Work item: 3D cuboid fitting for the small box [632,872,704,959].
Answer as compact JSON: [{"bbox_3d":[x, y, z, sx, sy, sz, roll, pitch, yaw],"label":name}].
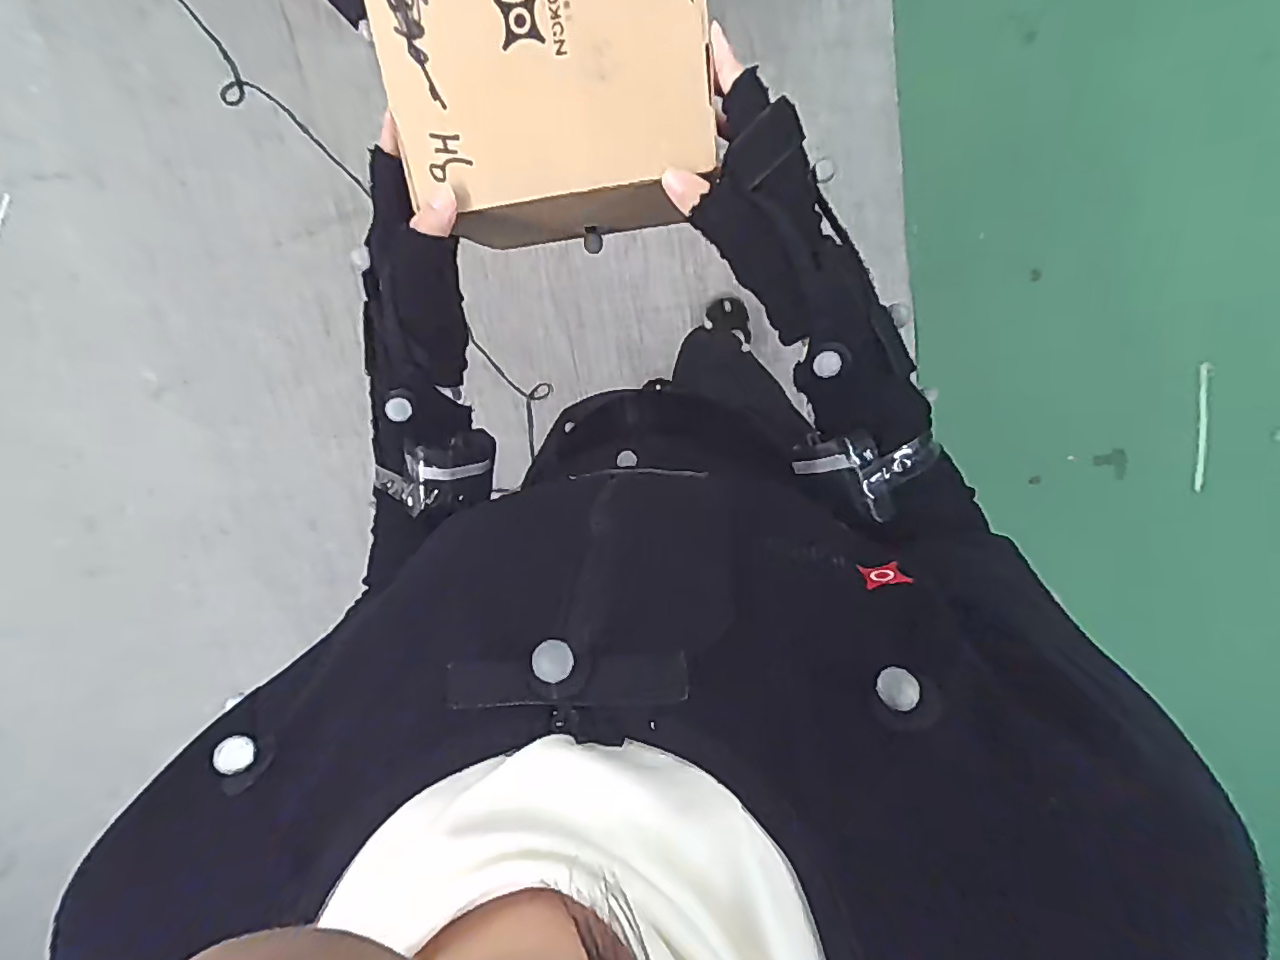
[{"bbox_3d":[0.090,1.348,1.650,0.179,0.176,0.168,-18,101,8],"label":"small box"}]
